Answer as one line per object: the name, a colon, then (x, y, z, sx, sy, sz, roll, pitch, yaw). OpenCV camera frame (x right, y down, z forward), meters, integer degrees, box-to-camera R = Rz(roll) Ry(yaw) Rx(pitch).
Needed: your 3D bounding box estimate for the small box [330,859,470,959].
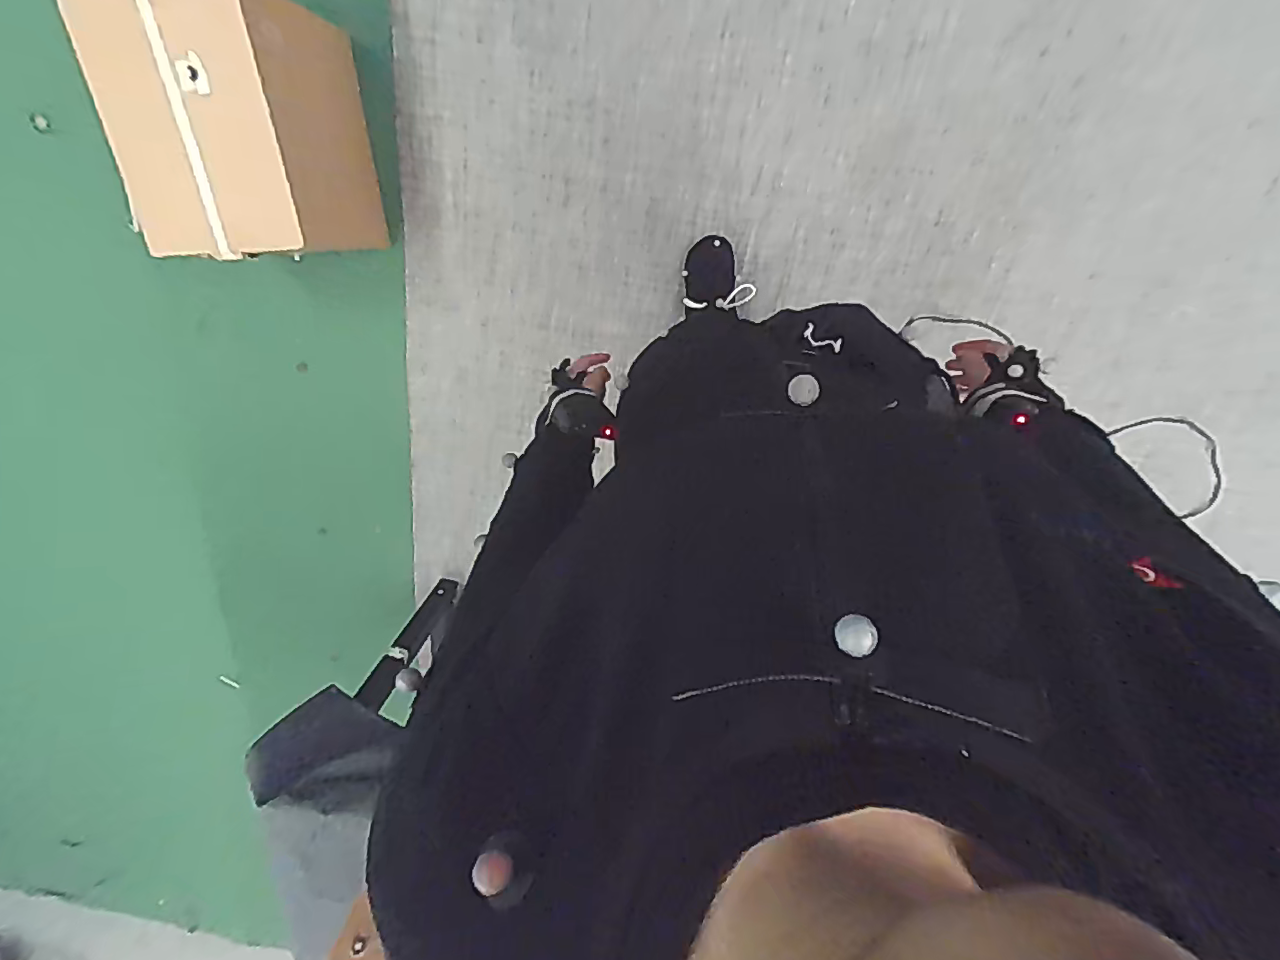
small box: (-0.411, 0.804, 0.943, 0.179, 0.176, 0.168, 12, 115, 1)
